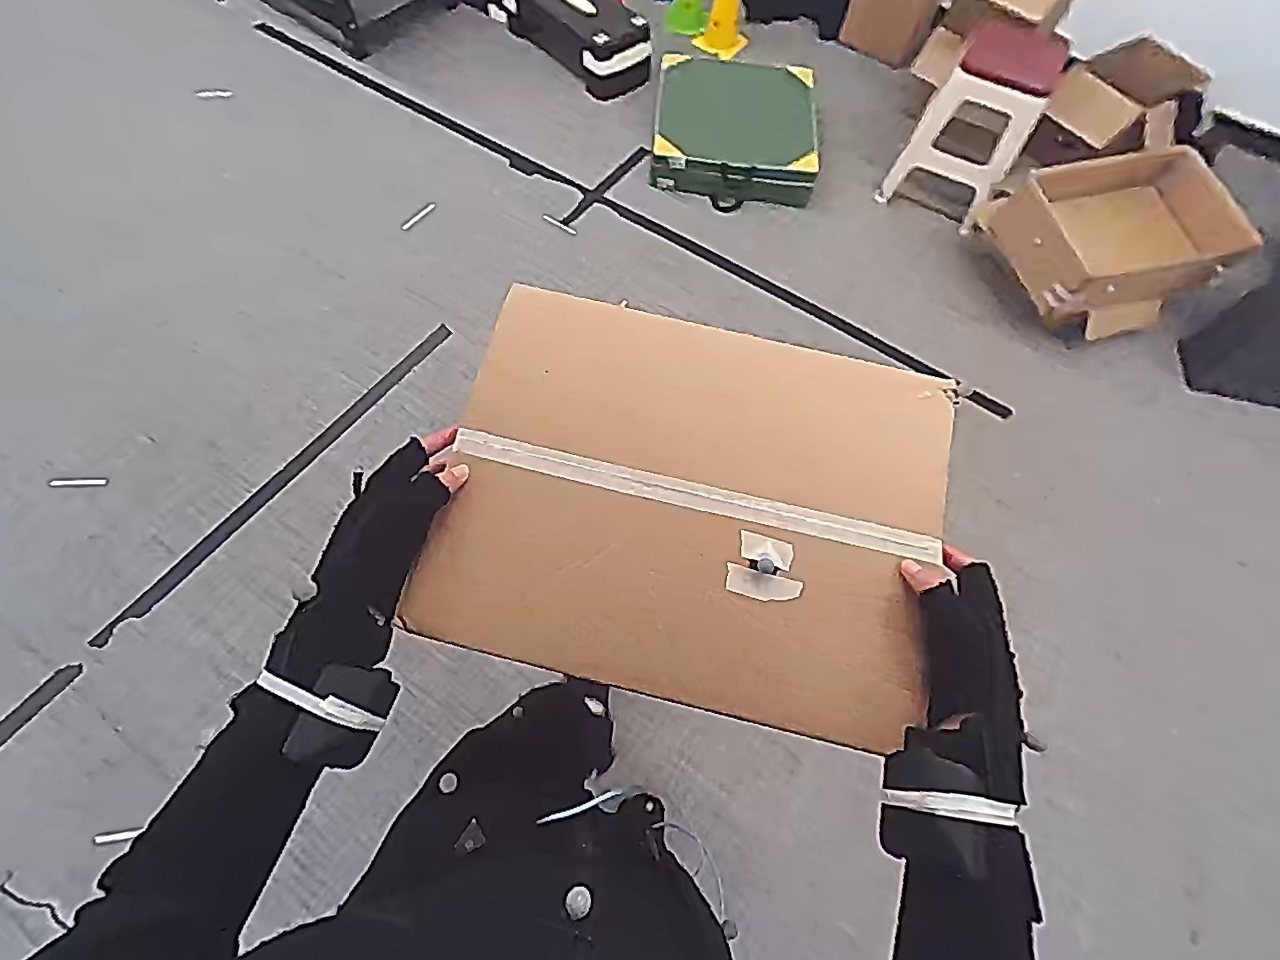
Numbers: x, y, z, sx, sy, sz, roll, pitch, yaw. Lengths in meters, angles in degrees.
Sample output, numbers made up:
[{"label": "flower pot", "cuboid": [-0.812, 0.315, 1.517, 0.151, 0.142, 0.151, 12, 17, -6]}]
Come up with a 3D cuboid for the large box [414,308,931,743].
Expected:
[{"label": "large box", "cuboid": [0.037, 0.060, 0.607, 0.408, 0.320, 0.320, 14, 75, 2]}]
